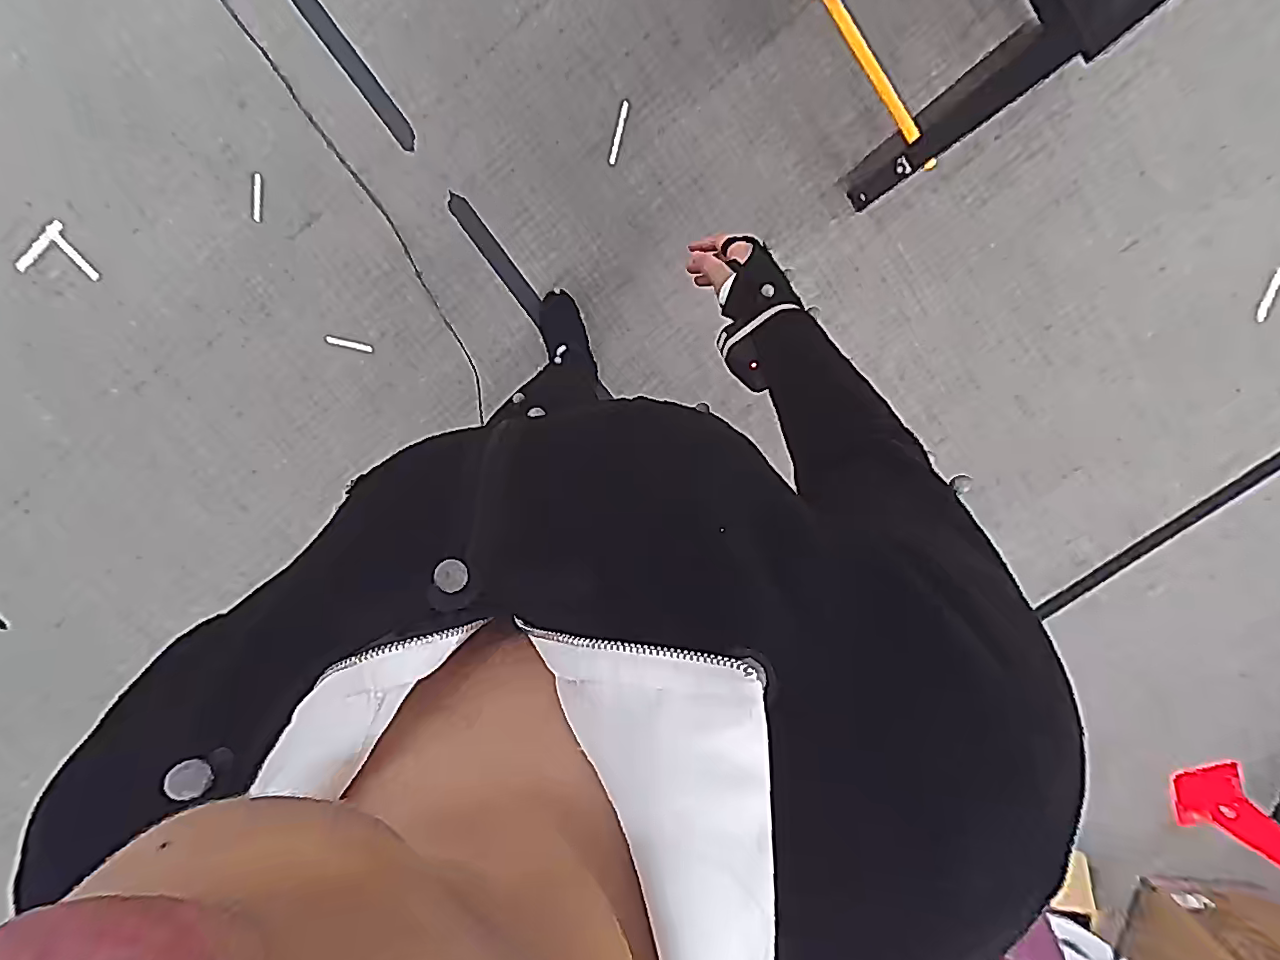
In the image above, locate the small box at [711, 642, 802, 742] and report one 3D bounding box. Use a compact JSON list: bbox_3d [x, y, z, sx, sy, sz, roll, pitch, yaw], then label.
[{"bbox_3d":[0.319,0.585,1.526,0.168,0.176,0.179,-40,98,8],"label":"small box"}]
